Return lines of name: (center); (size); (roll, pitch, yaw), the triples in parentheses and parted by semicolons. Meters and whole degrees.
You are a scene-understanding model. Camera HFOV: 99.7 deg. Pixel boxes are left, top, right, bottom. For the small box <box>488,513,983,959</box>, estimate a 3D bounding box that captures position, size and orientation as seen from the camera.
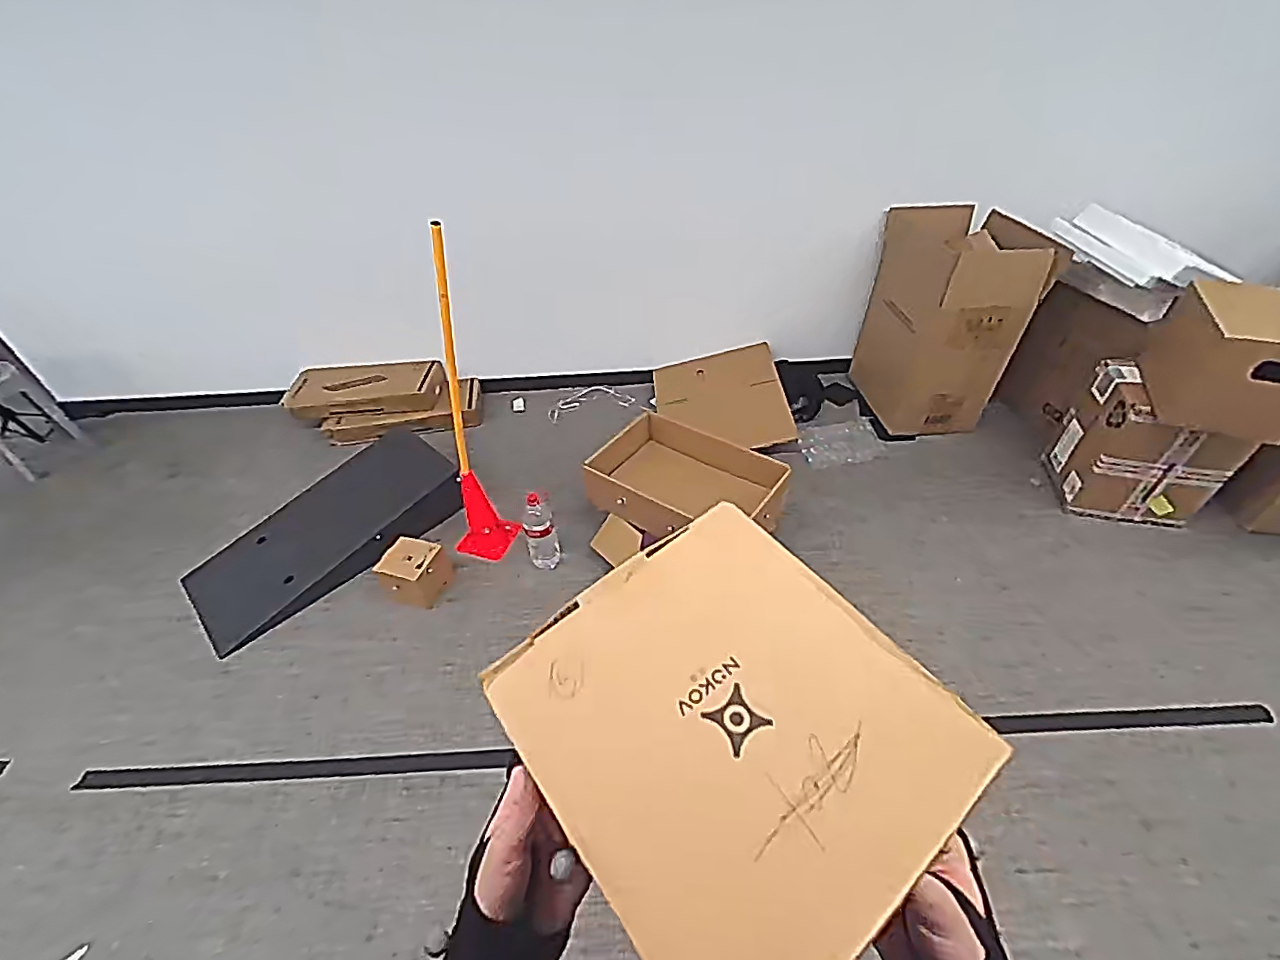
small box: (0.040, 0.159, 0.316); (0.168, 0.176, 0.179); (-34, 59, -22)
